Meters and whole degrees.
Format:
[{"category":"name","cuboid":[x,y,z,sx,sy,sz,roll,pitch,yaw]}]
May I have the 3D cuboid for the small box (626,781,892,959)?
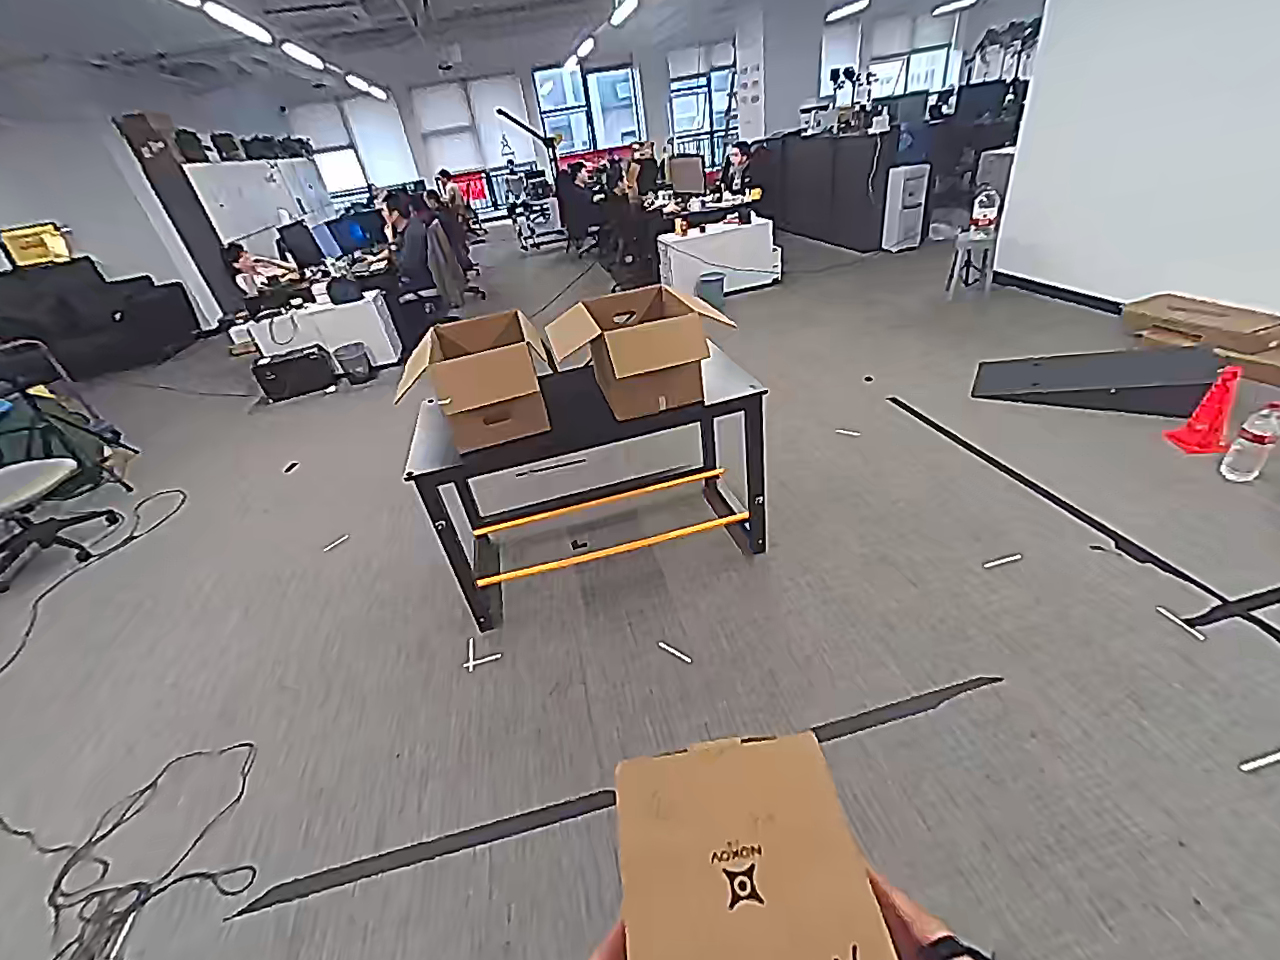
[{"category":"small box","cuboid":[0.083,0.362,0.404,0.168,0.176,0.179,-8,38,-1]}]
